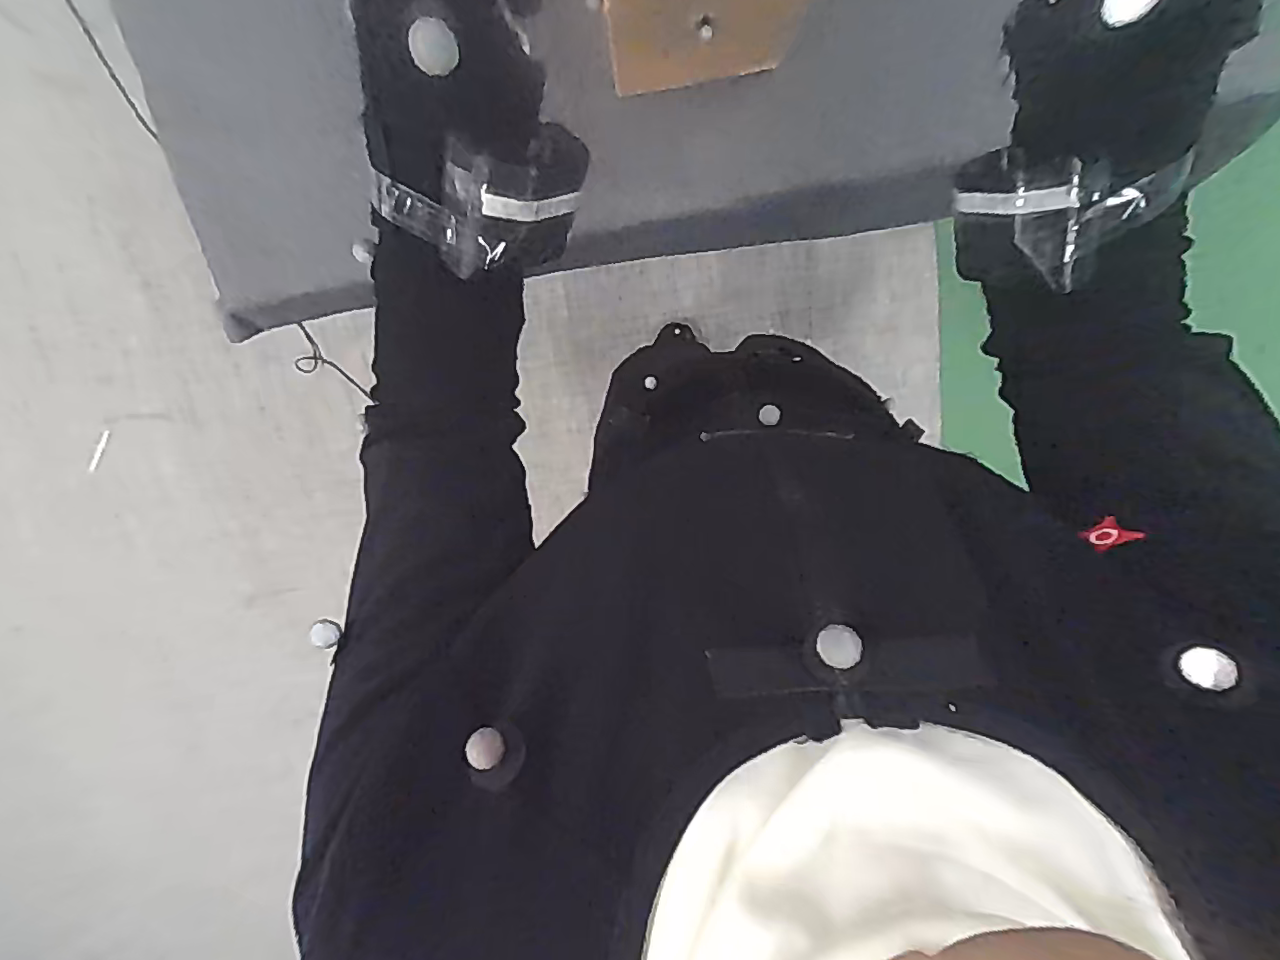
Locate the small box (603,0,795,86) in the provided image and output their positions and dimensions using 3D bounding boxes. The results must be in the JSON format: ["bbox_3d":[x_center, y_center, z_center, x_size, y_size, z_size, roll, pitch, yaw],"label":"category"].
[{"bbox_3d":[0.047,-0.488,0.484,0.179,0.176,0.168,-8,106,3],"label":"small box"}]
